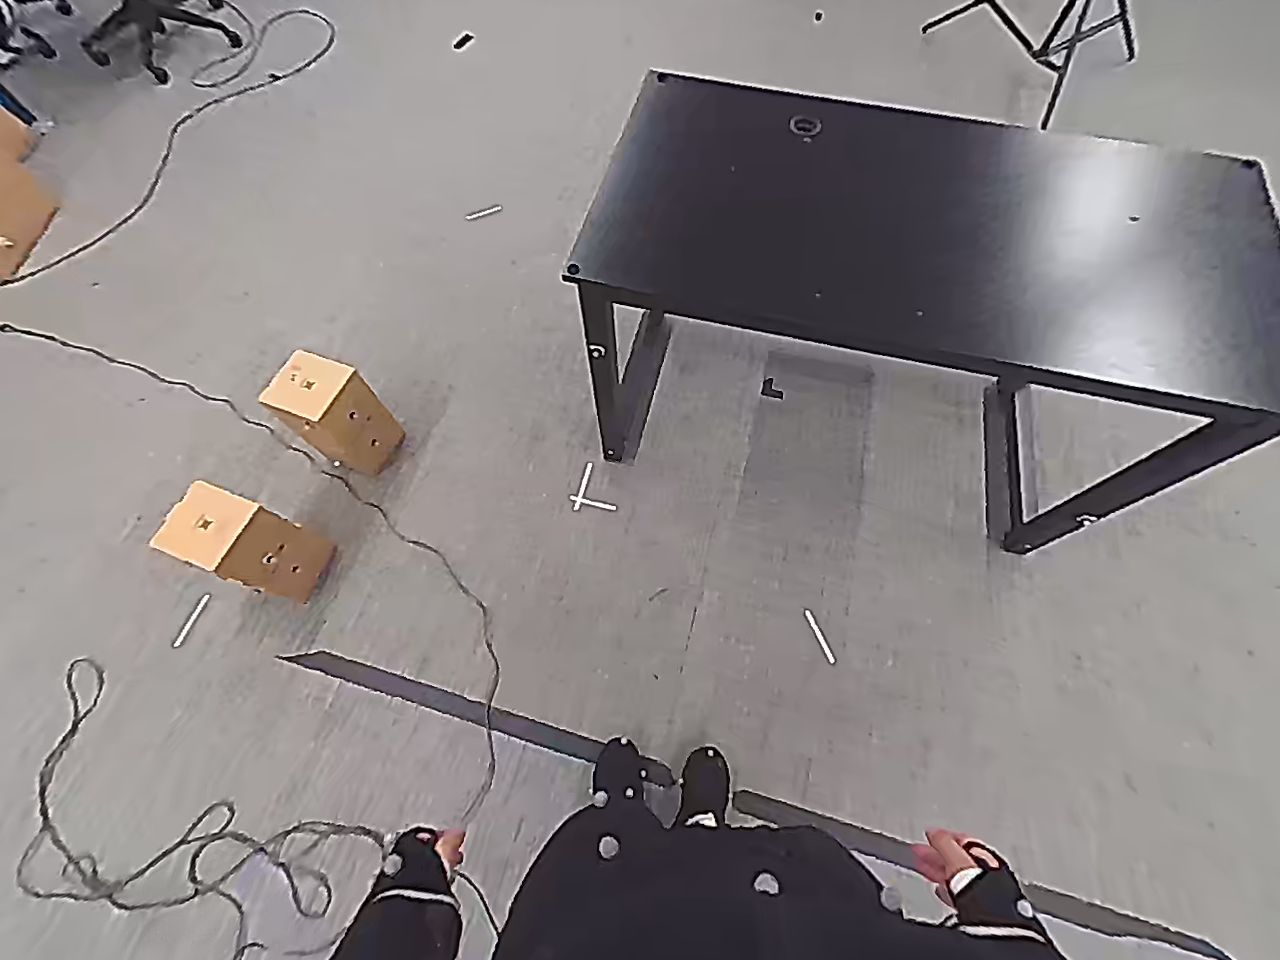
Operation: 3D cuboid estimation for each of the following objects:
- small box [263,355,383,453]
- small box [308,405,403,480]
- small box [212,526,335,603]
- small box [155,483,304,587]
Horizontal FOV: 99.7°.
[{"bbox_3d":[-0.808,-0.190,1.403,0.179,0.176,0.168,19,66,9],"label":"small box"},{"bbox_3d":[-0.815,-0.128,1.556,0.168,0.176,0.179,22,68,10],"label":"small box"},{"bbox_3d":[-0.939,0.207,1.405,0.168,0.176,0.179,14,67,7],"label":"small box"},{"bbox_3d":[-0.942,0.135,1.258,0.179,0.176,0.168,19,68,8],"label":"small box"}]
